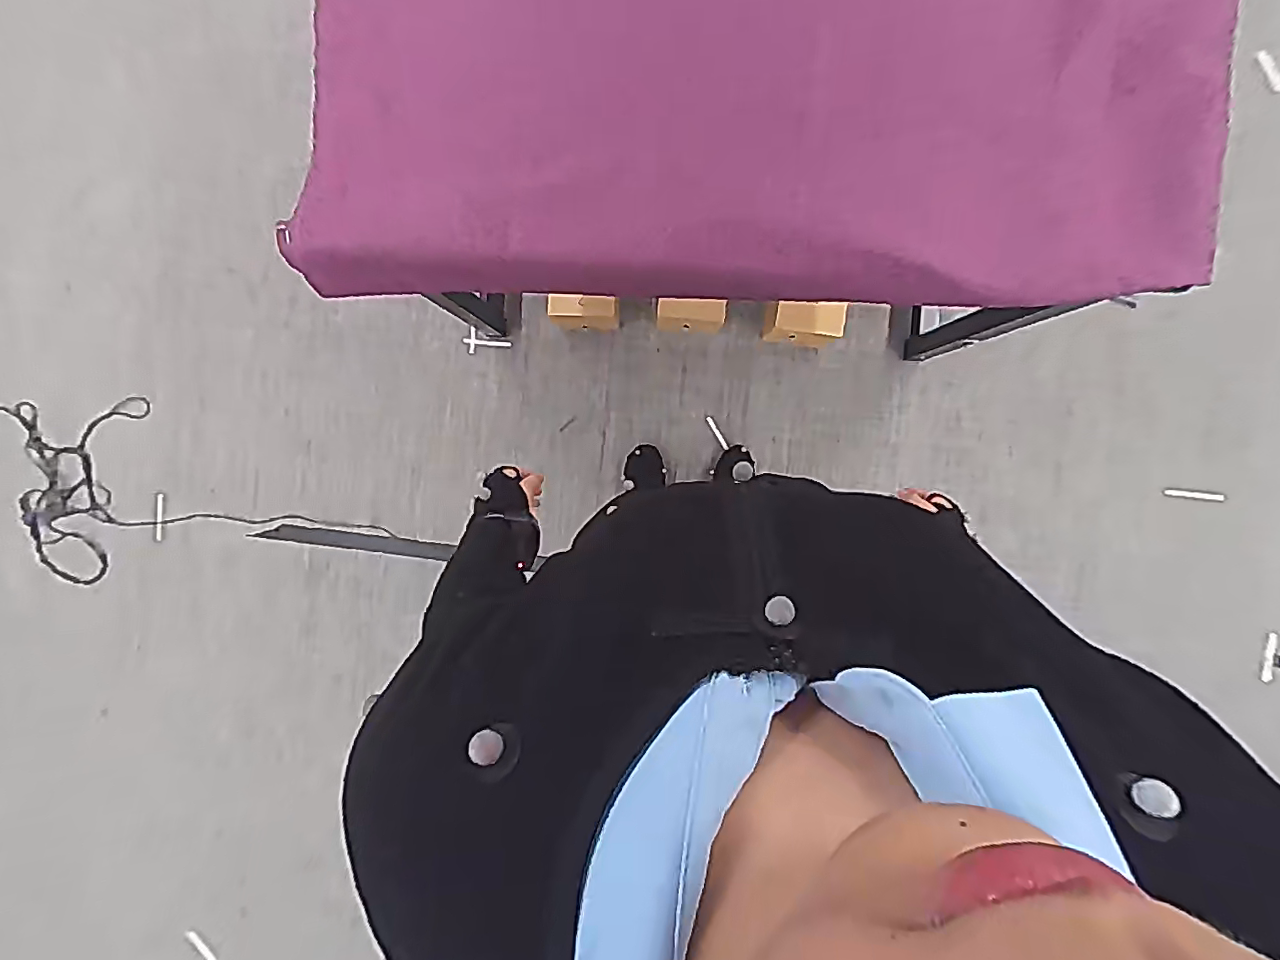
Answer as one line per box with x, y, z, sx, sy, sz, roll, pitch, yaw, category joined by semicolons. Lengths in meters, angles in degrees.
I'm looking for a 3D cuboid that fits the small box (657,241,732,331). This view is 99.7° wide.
0.137;-0.489;1.388;0.168;0.176;0.179;6;93;1;small box

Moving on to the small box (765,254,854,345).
0.424;-0.452;1.382;0.168;0.176;0.179;9;93;2;small box
